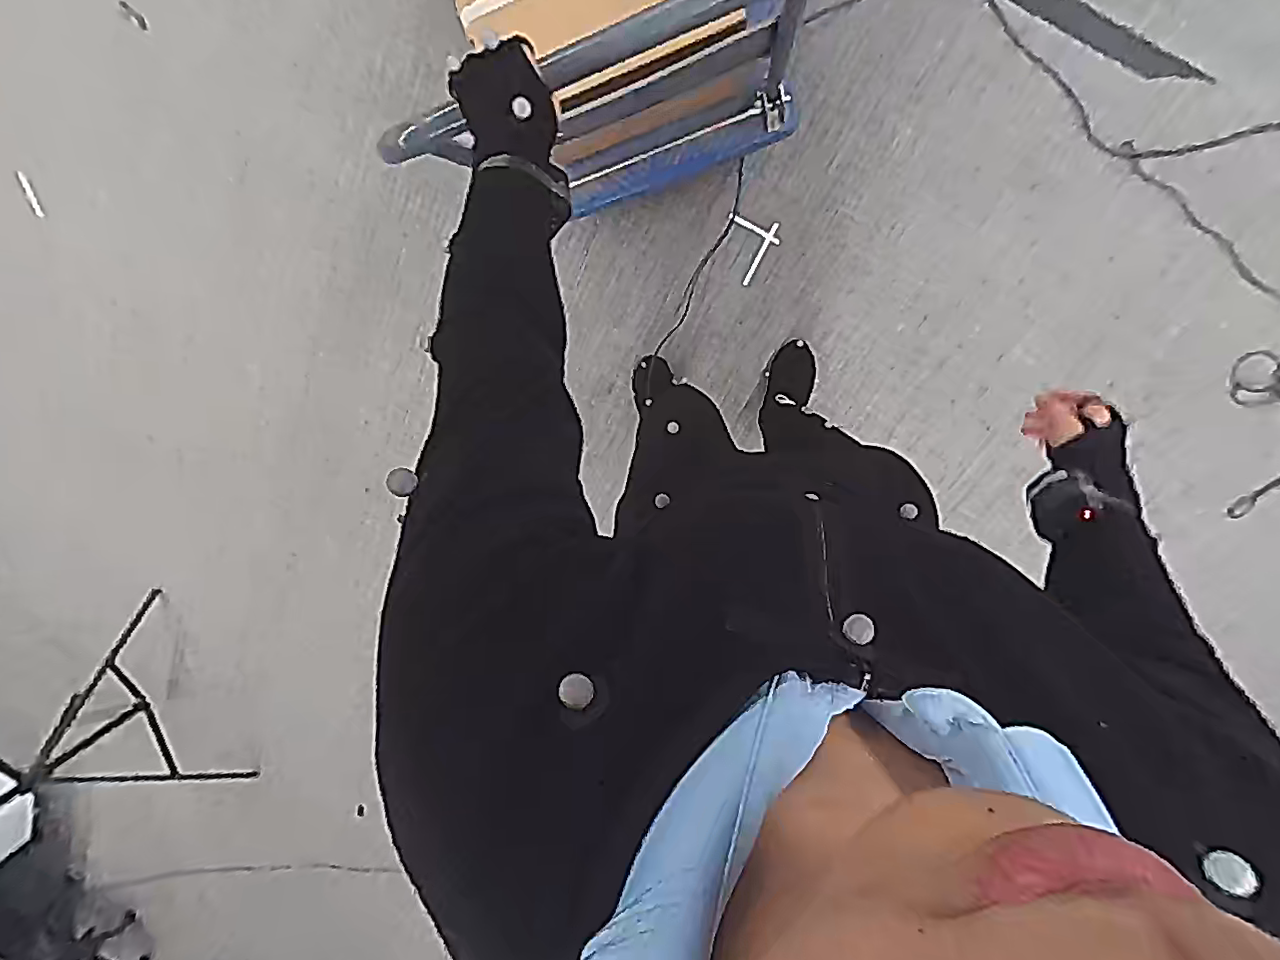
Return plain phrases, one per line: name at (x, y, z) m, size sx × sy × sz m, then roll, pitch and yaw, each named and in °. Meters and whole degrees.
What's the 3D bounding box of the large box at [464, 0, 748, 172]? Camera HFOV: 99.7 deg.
large box at (-0.050, -0.792, 0.929) m, size 0.408 × 0.320 × 0.320 m, roll -13°, pitch 107°, yaw 14°
